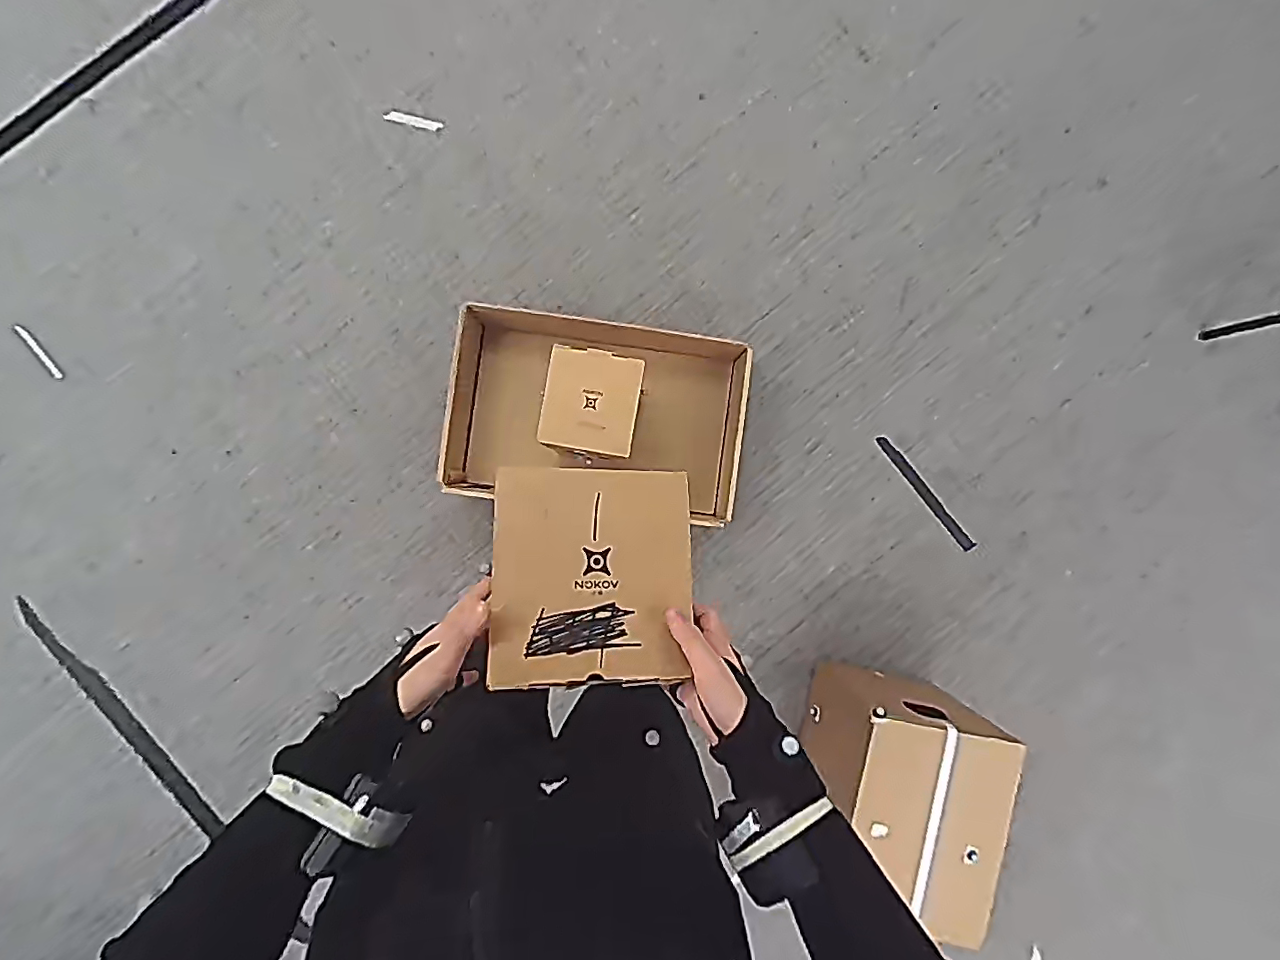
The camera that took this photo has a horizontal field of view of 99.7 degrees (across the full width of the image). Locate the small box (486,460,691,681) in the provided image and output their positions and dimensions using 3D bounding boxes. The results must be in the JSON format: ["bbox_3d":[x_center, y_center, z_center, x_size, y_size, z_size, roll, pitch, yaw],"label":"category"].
[{"bbox_3d":[-0.053,0.088,0.521,0.168,0.176,0.179,2,76,-11],"label":"small box"}]

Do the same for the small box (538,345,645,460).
[{"bbox_3d":[-0.087,-0.137,1.020,0.168,0.176,0.179,9,90,-2],"label":"small box"}]
